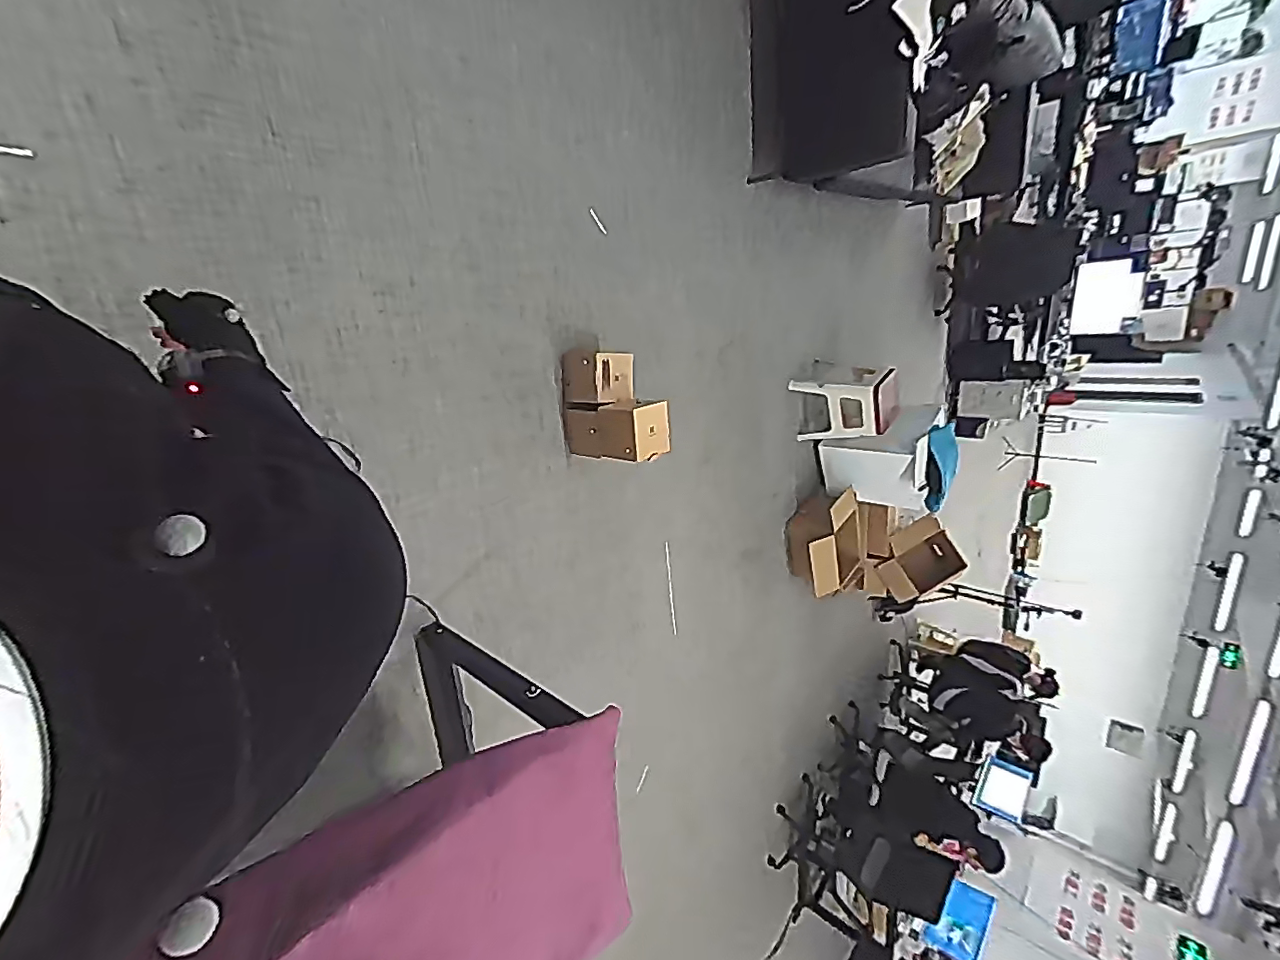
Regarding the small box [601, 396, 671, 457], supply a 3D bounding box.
[{"bbox_3d":[-0.017,-0.186,1.815,0.168,0.176,0.179,-23,115,-42],"label":"small box"}]
